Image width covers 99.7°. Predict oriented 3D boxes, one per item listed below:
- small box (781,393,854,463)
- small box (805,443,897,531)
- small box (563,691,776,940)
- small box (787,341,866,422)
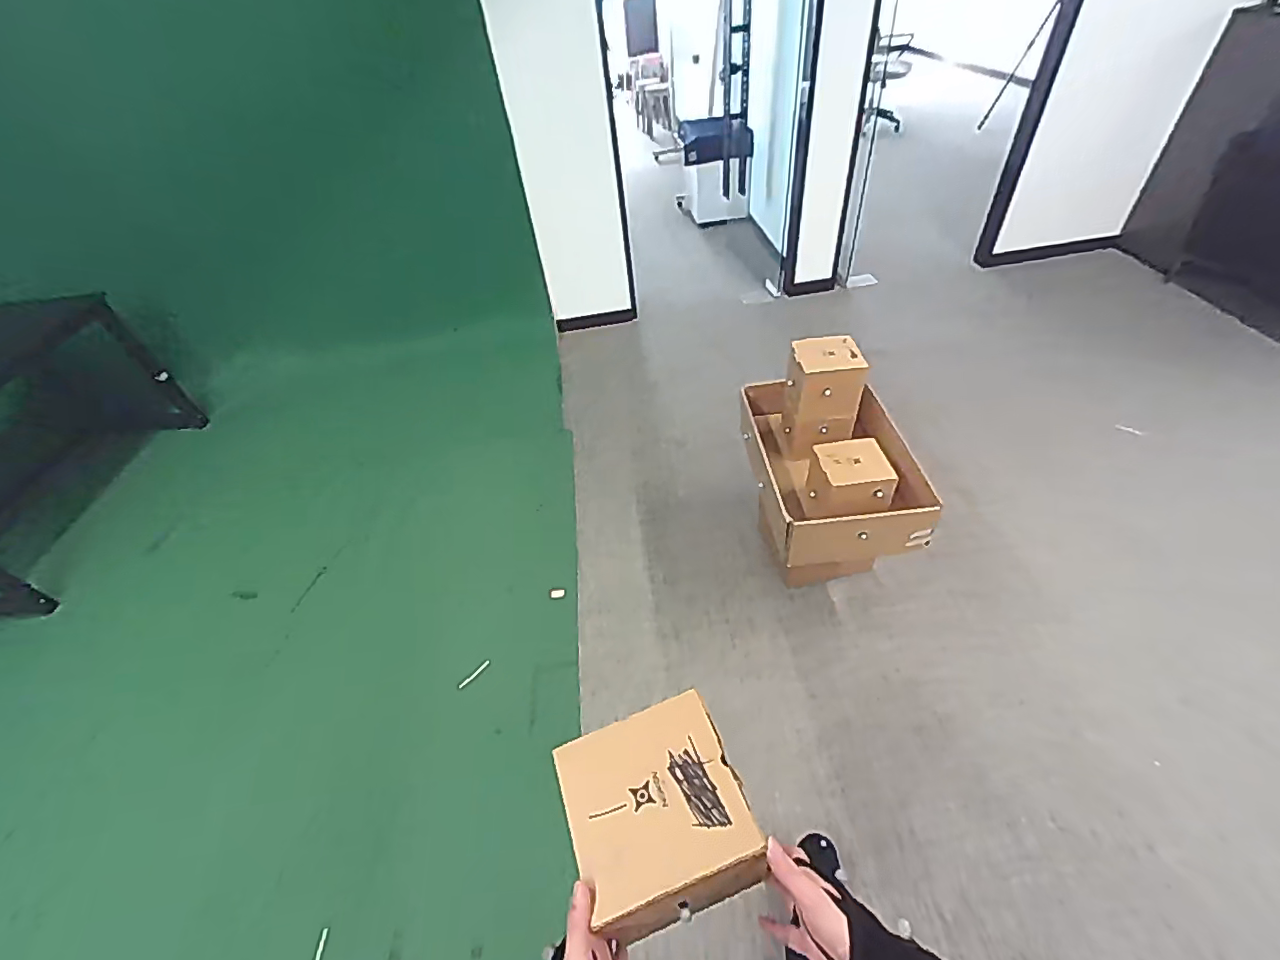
[{"bbox_3d":[0.548,-0.166,1.699,0.179,0.176,0.168,-4,45,2],"label":"small box"},{"bbox_3d":[0.576,0.022,1.501,0.179,0.176,0.168,-7,44,0],"label":"small box"},{"bbox_3d":[0.031,0.372,0.600,0.179,0.176,0.168,-20,45,-7],"label":"small box"},{"bbox_3d":[0.536,-0.283,1.585,0.179,0.176,0.168,-5,46,2],"label":"small box"}]
